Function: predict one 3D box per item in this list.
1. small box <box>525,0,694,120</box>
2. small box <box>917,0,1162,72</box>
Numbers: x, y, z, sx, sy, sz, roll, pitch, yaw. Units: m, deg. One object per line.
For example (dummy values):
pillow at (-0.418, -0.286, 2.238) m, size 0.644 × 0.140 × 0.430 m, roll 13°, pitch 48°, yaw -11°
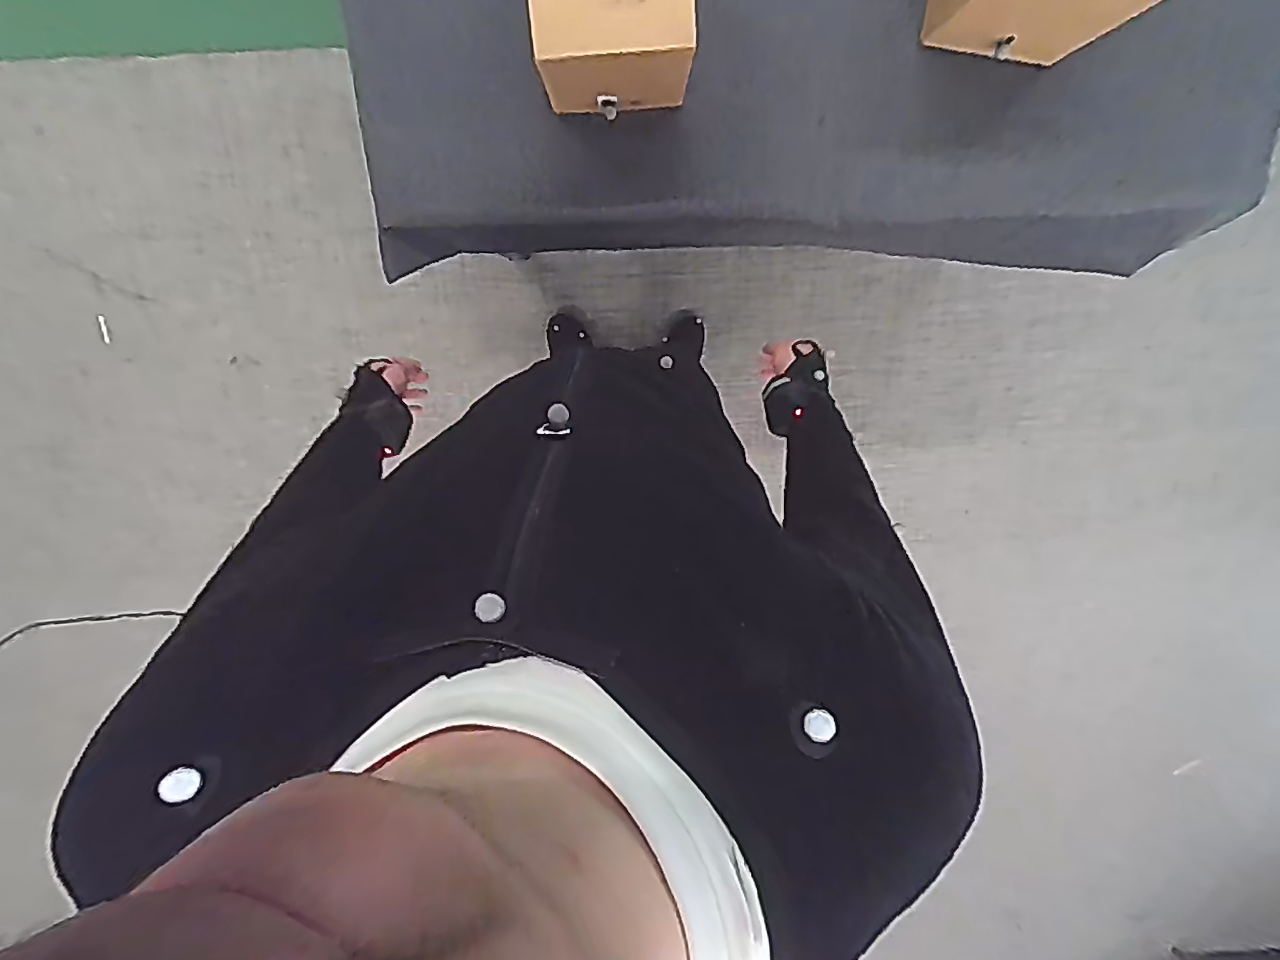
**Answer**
small box at (-0.031, -0.521, 0.585) m, size 0.168 × 0.176 × 0.179 m, roll -2°, pitch 107°, yaw 1°
small box at (0.448, -0.584, 0.594) m, size 0.179 × 0.176 × 0.168 m, roll 6°, pitch 107°, yaw -4°
